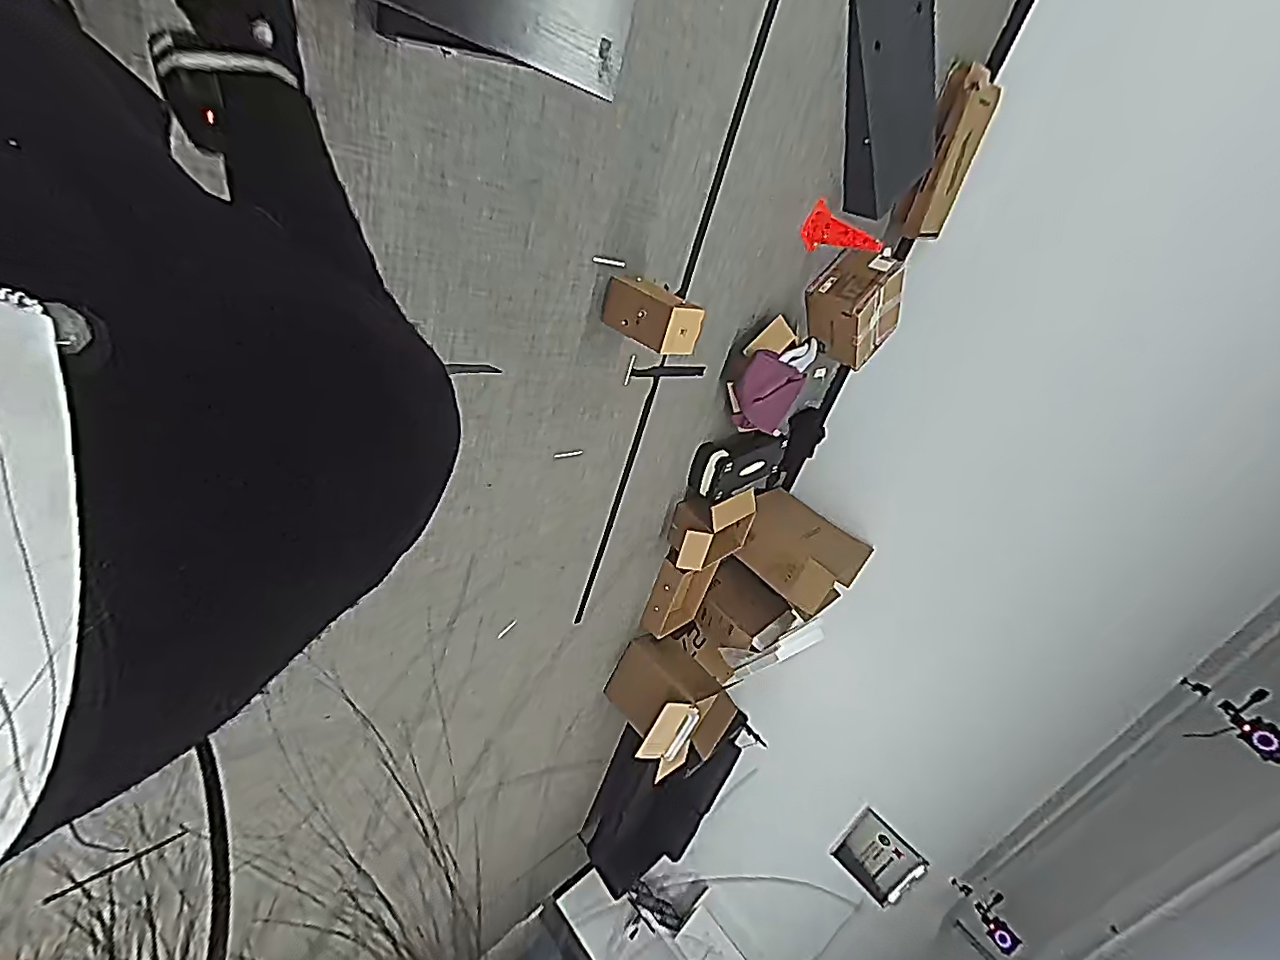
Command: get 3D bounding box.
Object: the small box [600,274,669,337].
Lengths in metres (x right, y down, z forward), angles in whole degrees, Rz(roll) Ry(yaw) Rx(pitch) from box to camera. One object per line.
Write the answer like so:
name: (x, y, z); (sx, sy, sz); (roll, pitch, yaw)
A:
small box: (-0.025, -0.644, 2.003); (0.168, 0.176, 0.179); (-15, 133, -44)

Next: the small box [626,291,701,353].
small box: (0.080, -0.560, 1.912); (0.179, 0.176, 0.168); (-13, 130, -44)
